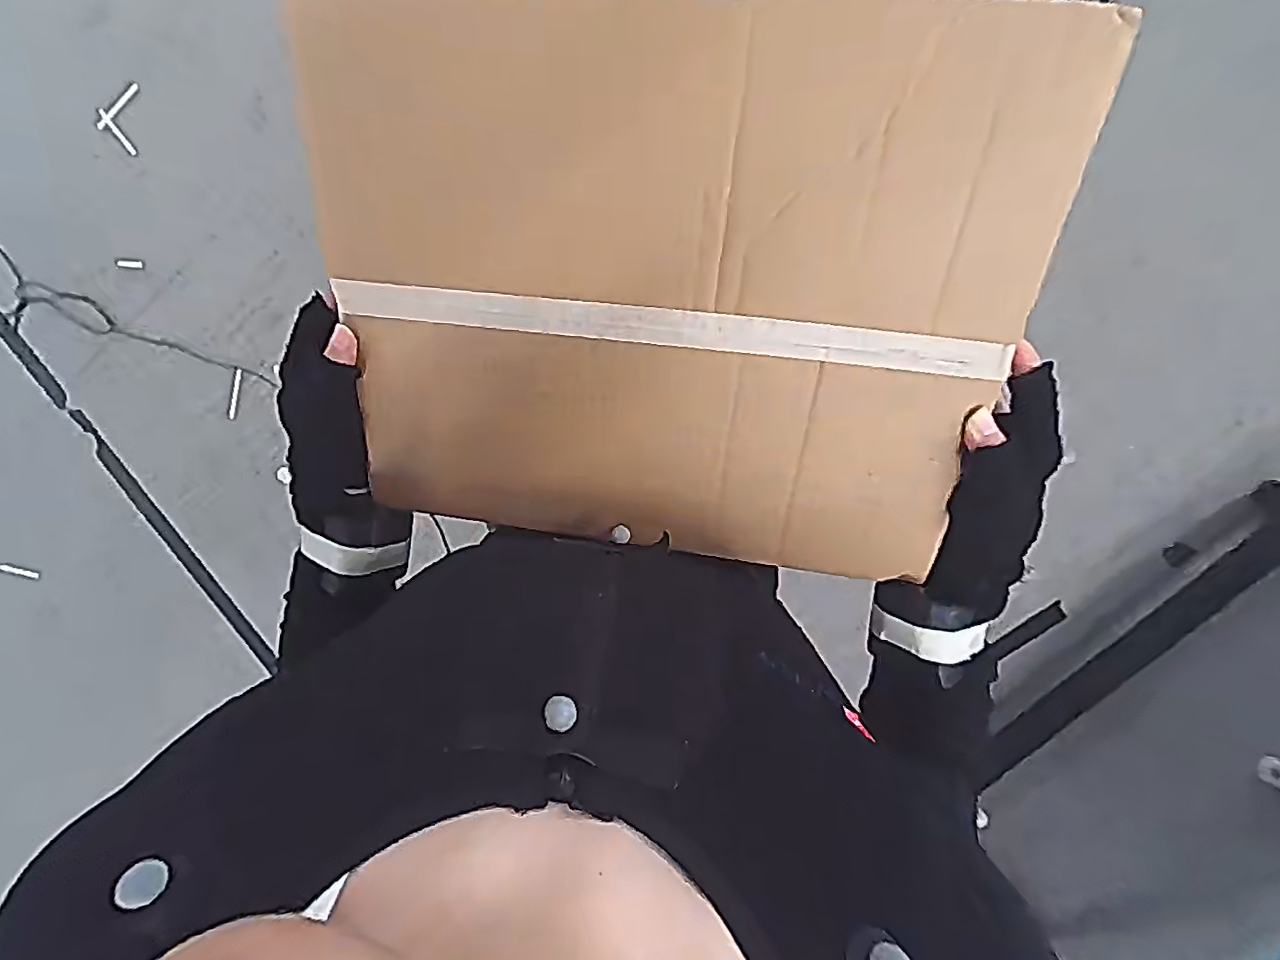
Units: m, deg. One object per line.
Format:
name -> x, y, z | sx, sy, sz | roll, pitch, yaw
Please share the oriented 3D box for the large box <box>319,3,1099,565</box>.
large box -> 0.031, -0.162, 0.471 | 0.408, 0.320, 0.320 | 7, 118, 5
